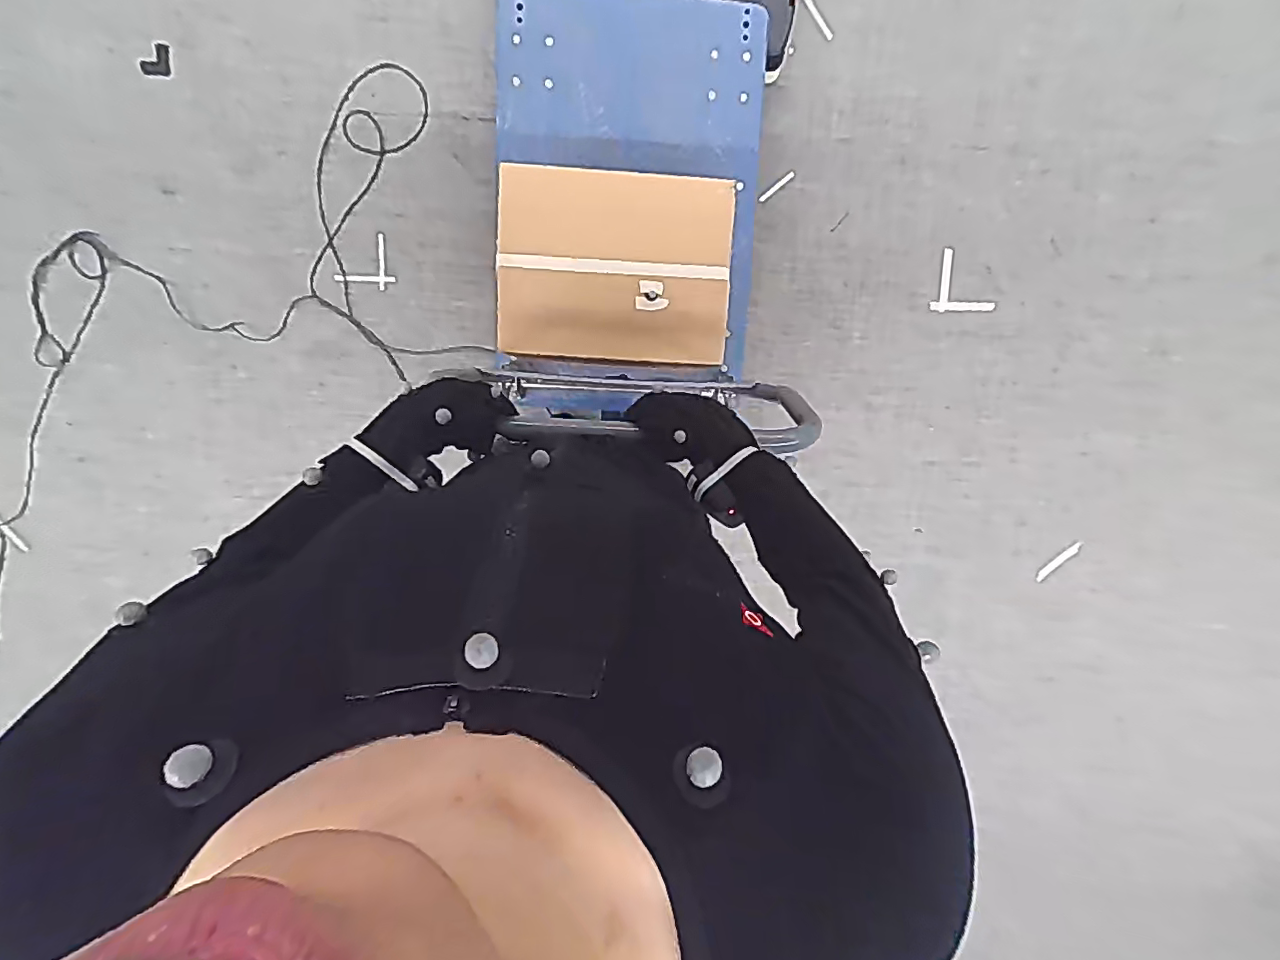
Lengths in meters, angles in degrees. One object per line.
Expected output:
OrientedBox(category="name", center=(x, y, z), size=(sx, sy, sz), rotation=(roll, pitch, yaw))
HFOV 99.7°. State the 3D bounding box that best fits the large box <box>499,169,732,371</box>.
OrientedBox(category="large box", center=(-0.053, -0.388, 1.086), size=(0.408, 0.320, 0.320), rotation=(2, 100, -3))
